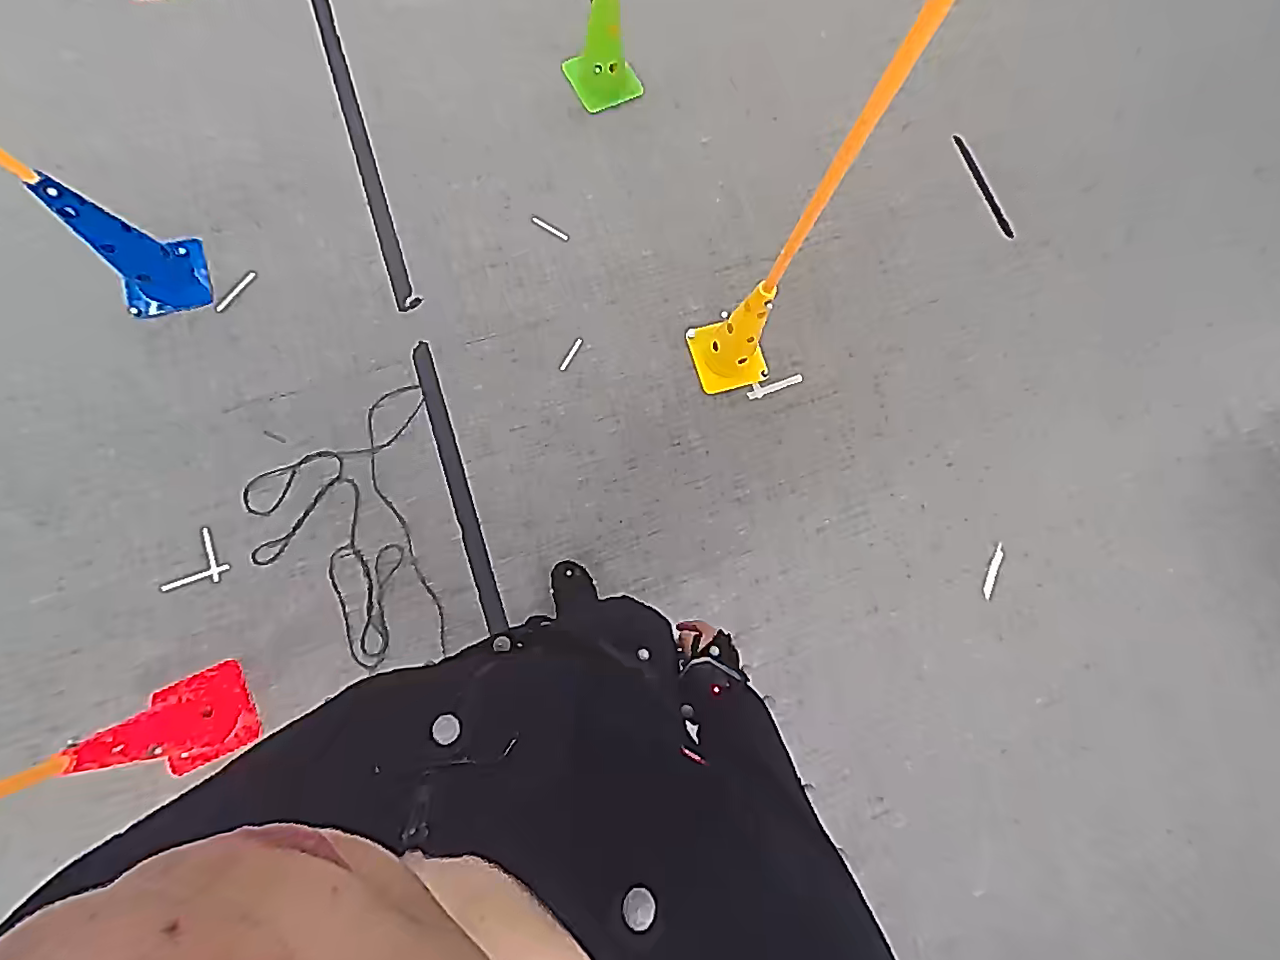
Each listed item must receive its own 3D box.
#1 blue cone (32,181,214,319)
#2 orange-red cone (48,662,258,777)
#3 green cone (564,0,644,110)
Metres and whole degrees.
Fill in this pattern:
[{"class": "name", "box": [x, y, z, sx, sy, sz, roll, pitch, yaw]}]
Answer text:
[{"class": "blue cone", "box": [-1.224, -0.559, 1.266, 0.193, 0.380, 0.192, -15, 81, -8]}, {"class": "orange-red cone", "box": [-0.970, 0.503, 1.059, 0.199, 0.360, 0.198, -23, 82, -11]}, {"class": "green cone", "box": [-0.093, -1.284, 1.509, 0.200, 0.368, 0.202, -29, 84, -10]}]
